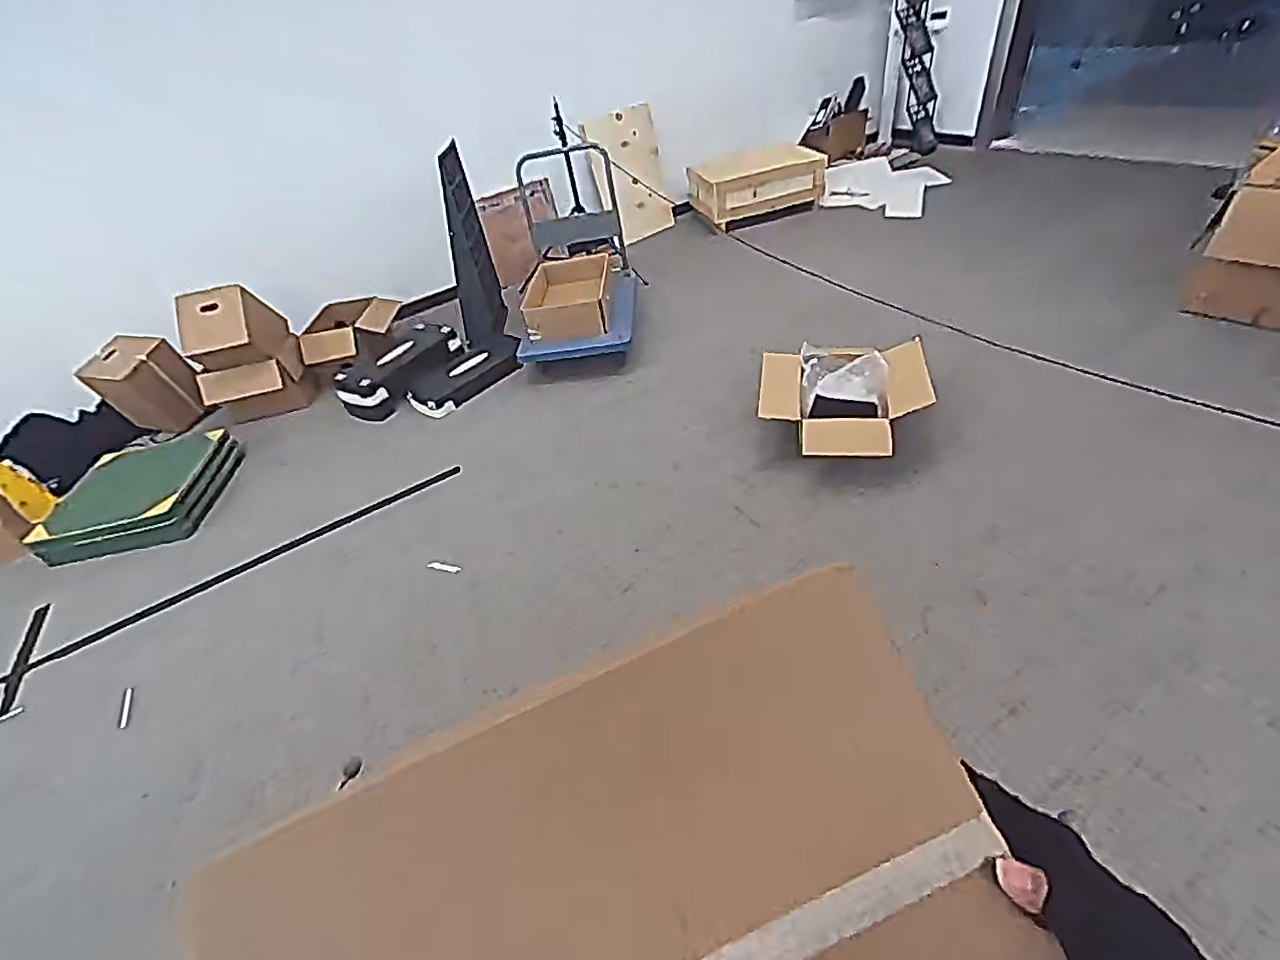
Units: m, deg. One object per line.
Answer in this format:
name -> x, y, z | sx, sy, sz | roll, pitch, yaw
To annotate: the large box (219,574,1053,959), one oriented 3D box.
large box -> 0.009, 0.309, 0.425 | 0.408, 0.320, 0.320 | -24, 78, -5
